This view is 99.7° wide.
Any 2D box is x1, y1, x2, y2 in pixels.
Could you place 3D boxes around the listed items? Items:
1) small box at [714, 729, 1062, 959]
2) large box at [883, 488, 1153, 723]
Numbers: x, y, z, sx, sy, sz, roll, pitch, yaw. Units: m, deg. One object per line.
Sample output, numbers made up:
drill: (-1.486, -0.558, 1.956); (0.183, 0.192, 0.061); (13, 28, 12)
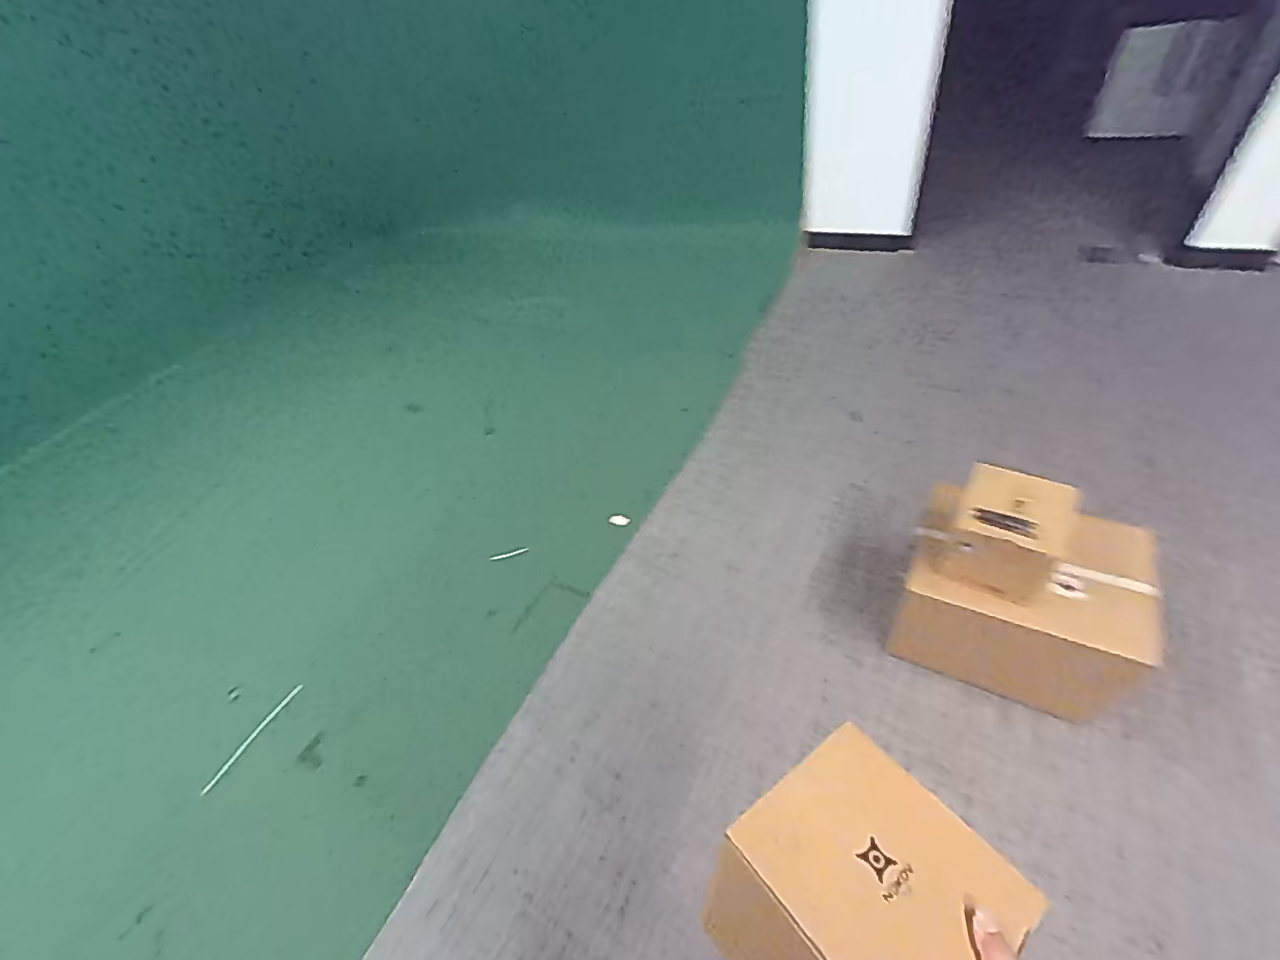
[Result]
small box: (0.182, 0.357, 0.446); (0.168, 0.176, 0.179); (-17, 39, -31)
large box: (0.802, 0.269, 1.203); (0.408, 0.320, 0.320); (16, 55, 25)
